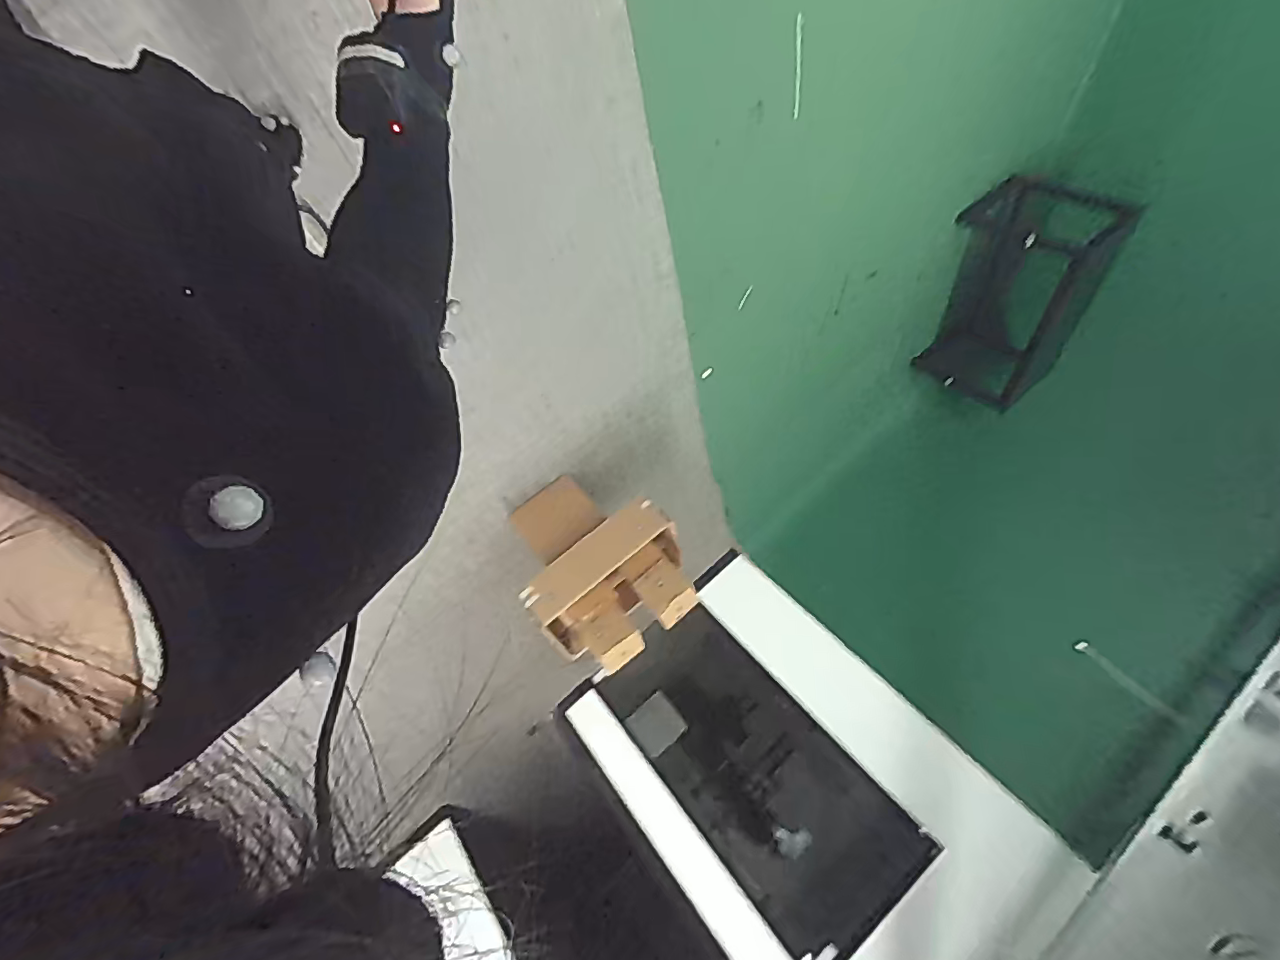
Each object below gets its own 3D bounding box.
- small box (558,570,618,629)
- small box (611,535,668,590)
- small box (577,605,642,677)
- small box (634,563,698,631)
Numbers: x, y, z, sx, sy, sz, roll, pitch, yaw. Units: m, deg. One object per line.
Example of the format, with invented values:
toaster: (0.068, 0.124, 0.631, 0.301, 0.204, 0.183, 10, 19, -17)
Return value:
small box: (-0.199, 0.486, 2.108, 0.168, 0.176, 0.179, -31, 143, -22)
small box: (0.009, 0.354, 2.191, 0.168, 0.176, 0.179, -39, 146, -11)
small box: (-0.115, 0.592, 2.014, 0.168, 0.176, 0.179, -33, 144, -17)
small box: (0.097, 0.446, 2.086, 0.168, 0.176, 0.179, -38, 145, -10)
